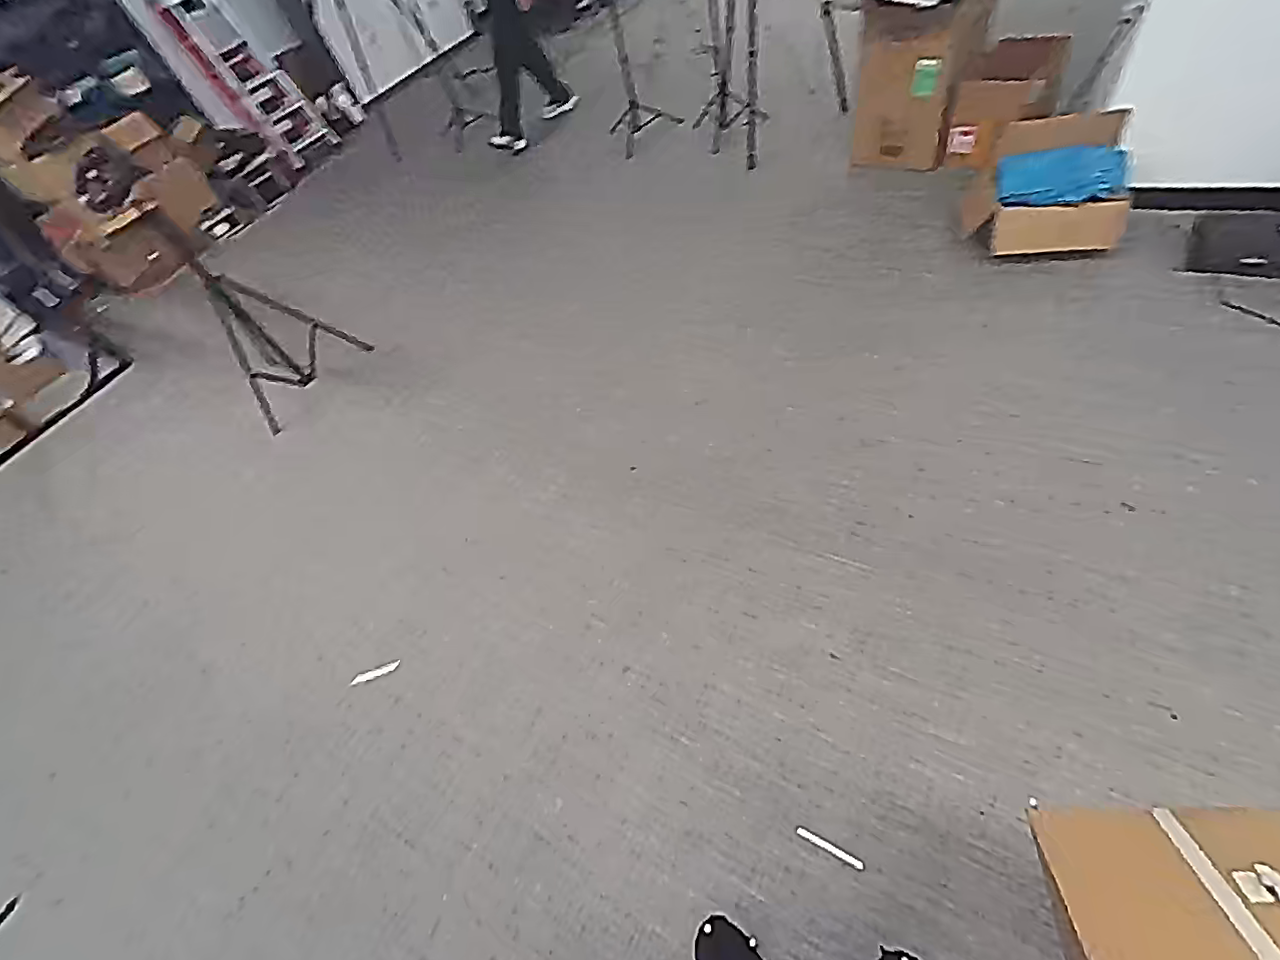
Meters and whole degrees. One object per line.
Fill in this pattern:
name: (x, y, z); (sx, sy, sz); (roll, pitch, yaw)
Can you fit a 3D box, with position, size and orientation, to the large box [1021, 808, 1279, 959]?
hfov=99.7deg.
large box: (0.681, 0.631, 0.575); (0.320, 0.408, 0.320); (-14, 90, 22)
